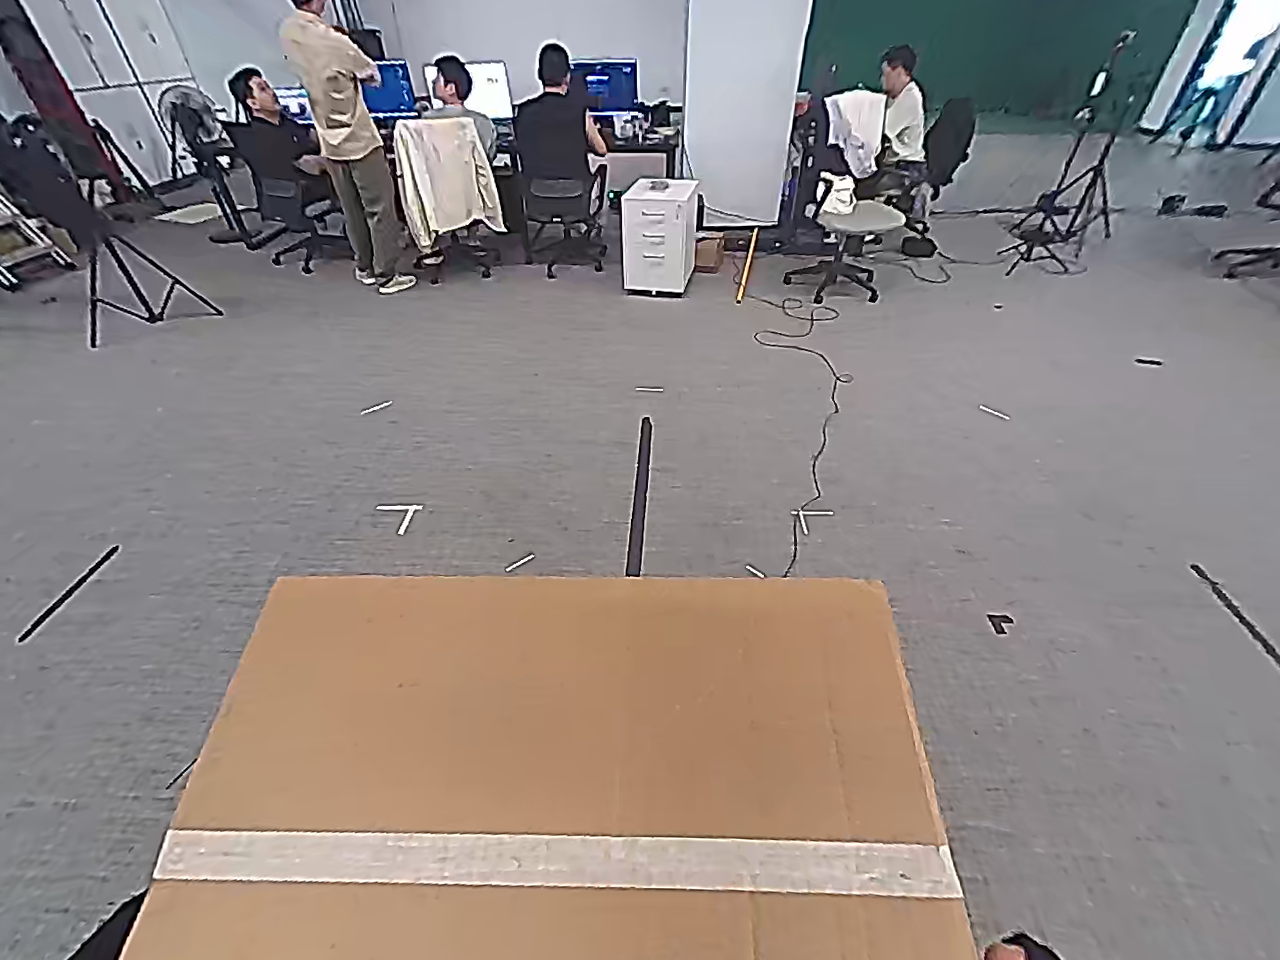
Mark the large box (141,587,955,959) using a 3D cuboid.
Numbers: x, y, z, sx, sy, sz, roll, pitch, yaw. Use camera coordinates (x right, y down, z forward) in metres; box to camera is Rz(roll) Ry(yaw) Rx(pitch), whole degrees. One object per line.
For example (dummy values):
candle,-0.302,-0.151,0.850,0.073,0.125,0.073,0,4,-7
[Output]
large box,-0.043,0.285,0.407,0.408,0.320,0.320,0,56,2
